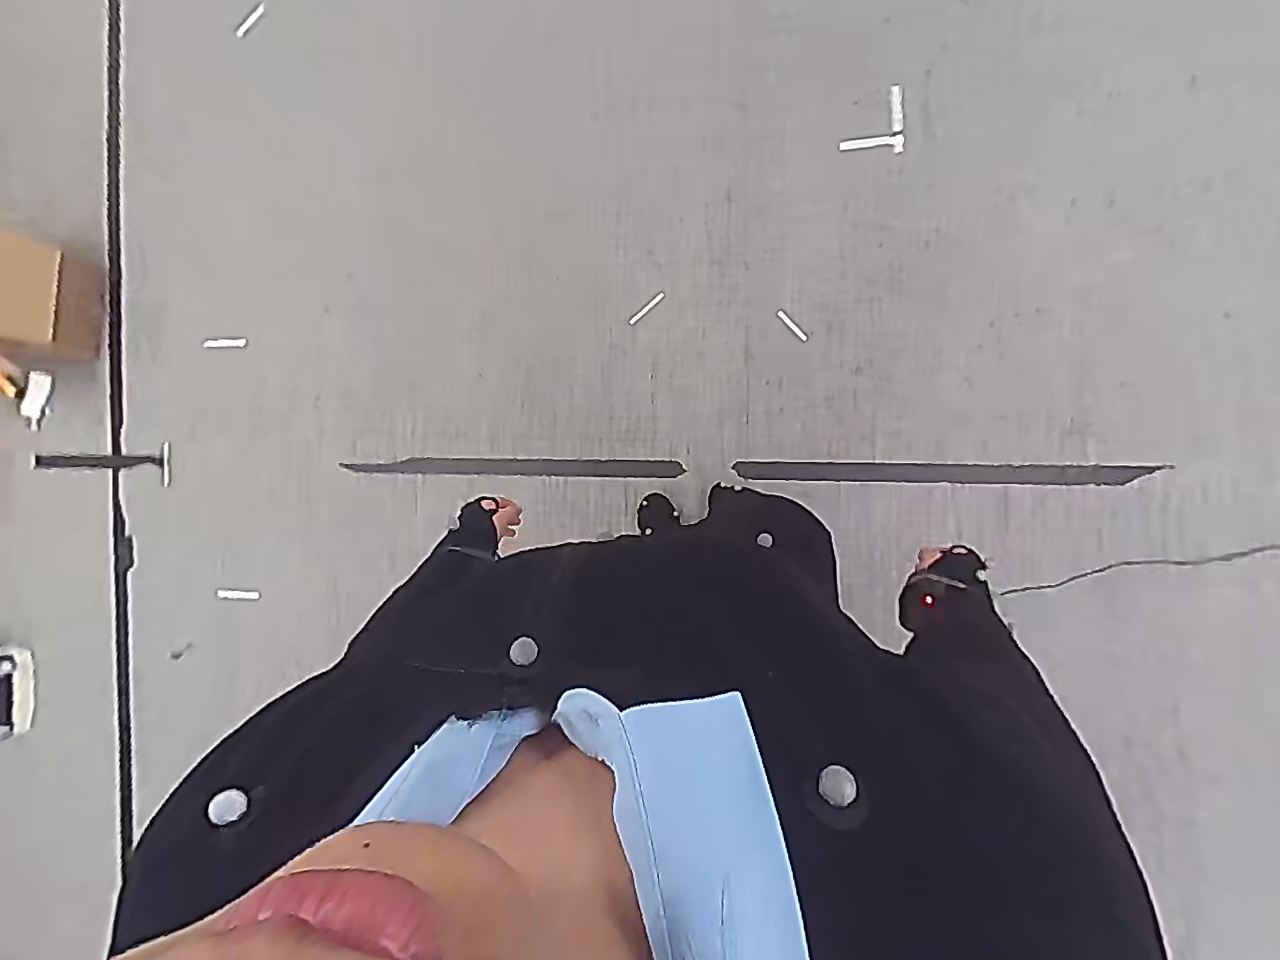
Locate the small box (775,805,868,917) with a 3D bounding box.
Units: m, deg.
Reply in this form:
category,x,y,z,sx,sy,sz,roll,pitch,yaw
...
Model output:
category,x,y,z,sx,sy,sz,roll,pitch,yaw
small box,0.389,0.844,1.174,0.168,0.176,0.179,-5,89,9
